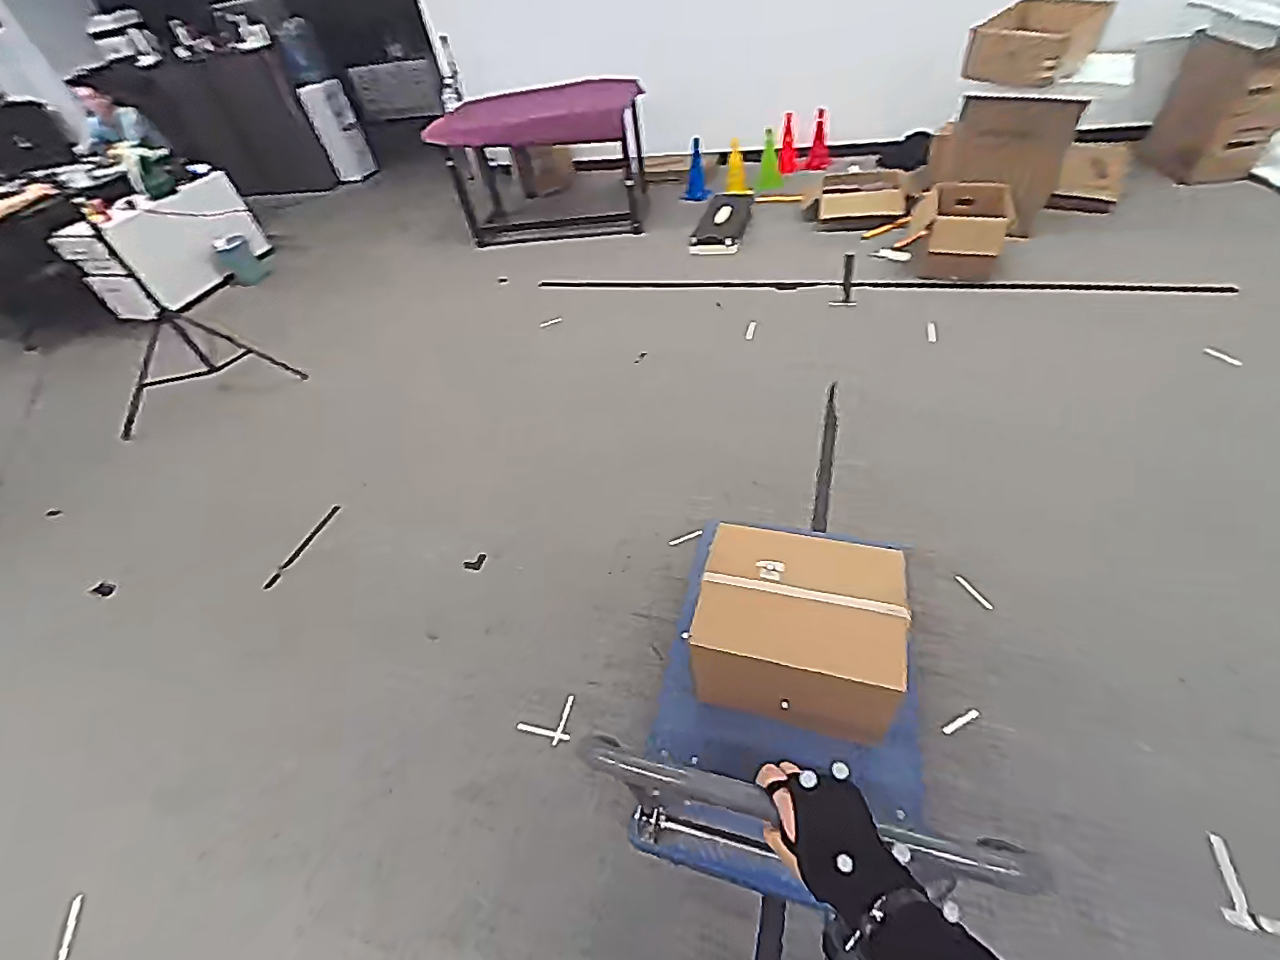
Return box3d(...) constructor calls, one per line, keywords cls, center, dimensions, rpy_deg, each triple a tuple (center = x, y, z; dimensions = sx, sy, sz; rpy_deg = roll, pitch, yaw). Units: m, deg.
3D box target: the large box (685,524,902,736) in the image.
box3d(cls="large box", center=(0.342, 0.331, 1.215), dimensions=(0.408, 0.320, 0.320), rpy_deg=(6, 48, 18))
